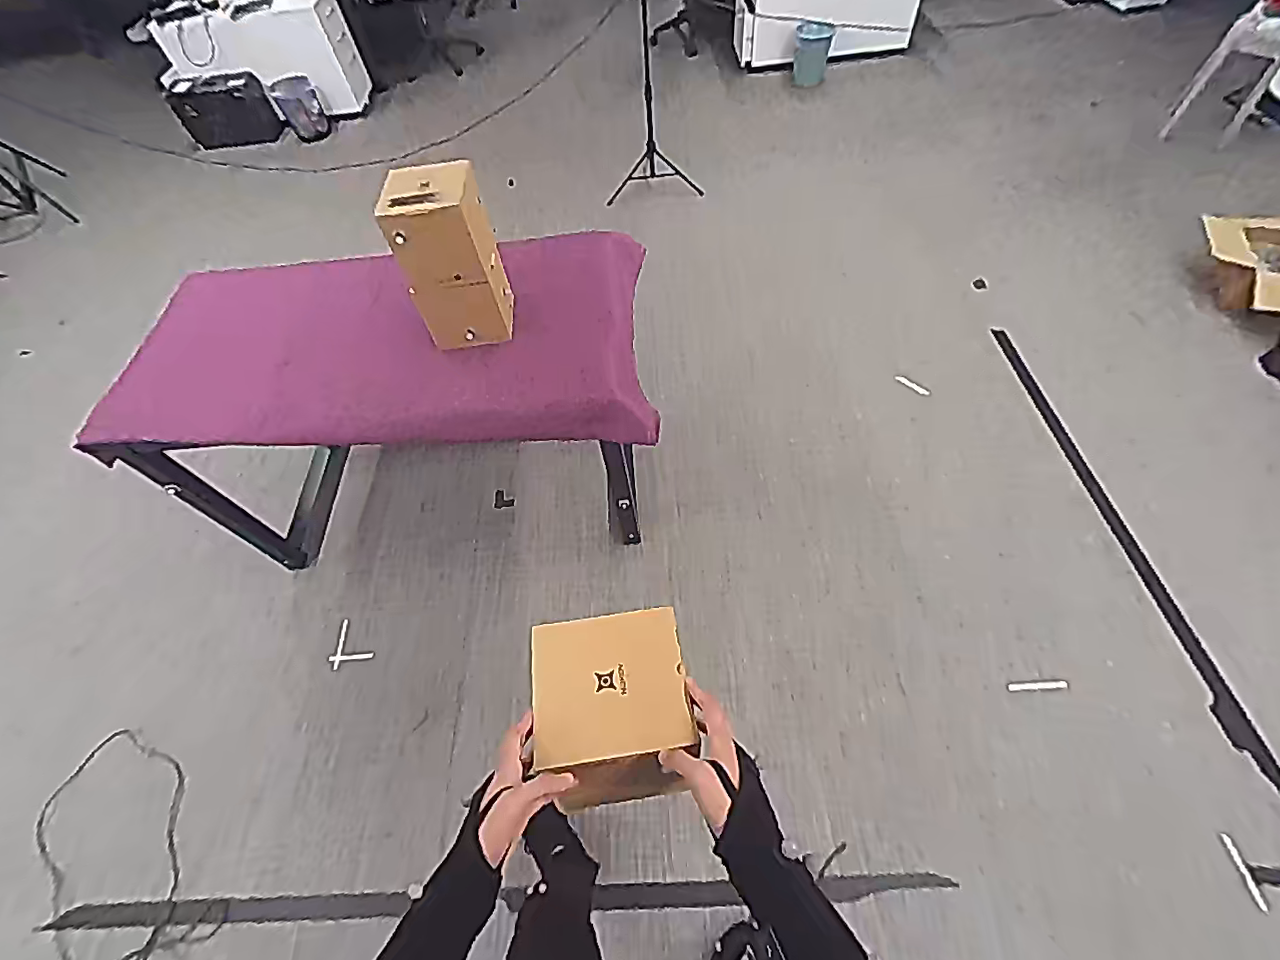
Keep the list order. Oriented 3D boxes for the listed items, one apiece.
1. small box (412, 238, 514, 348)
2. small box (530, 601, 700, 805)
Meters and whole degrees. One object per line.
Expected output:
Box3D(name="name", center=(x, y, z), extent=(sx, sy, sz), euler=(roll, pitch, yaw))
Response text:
Box3D(name="small box", center=(-0.395, -0.425, 1.244), extent=(0.179, 0.176, 0.168), euler=(-7, 56, 0))
Box3D(name="small box", center=(-0.030, 0.272, 0.655), extent=(0.179, 0.176, 0.168), euler=(-7, 46, -5))
